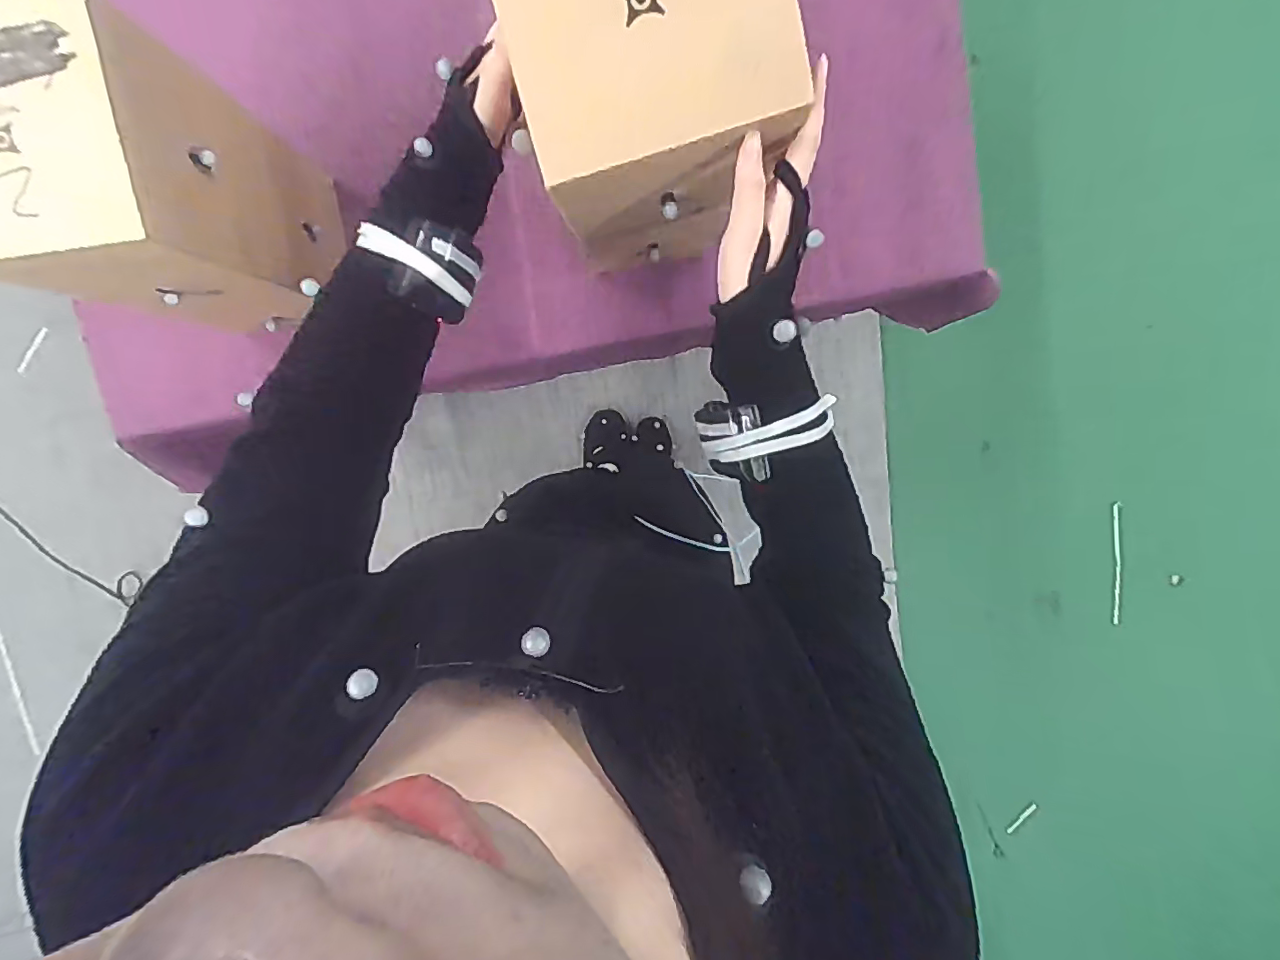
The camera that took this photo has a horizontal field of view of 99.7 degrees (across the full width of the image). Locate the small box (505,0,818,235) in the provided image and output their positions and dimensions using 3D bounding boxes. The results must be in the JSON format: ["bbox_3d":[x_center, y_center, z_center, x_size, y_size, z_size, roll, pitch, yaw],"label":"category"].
[{"bbox_3d":[0.010,-0.292,0.384,0.168,0.176,0.179,-14,100,5],"label":"small box"}]

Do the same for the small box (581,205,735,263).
[{"bbox_3d":[0.006,-0.364,0.630,0.168,0.176,0.179,-10,99,-1],"label":"small box"}]

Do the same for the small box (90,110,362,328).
[{"bbox_3d":[-0.454,-0.284,0.625,0.168,0.176,0.179,-8,99,-1],"label":"small box"}]
